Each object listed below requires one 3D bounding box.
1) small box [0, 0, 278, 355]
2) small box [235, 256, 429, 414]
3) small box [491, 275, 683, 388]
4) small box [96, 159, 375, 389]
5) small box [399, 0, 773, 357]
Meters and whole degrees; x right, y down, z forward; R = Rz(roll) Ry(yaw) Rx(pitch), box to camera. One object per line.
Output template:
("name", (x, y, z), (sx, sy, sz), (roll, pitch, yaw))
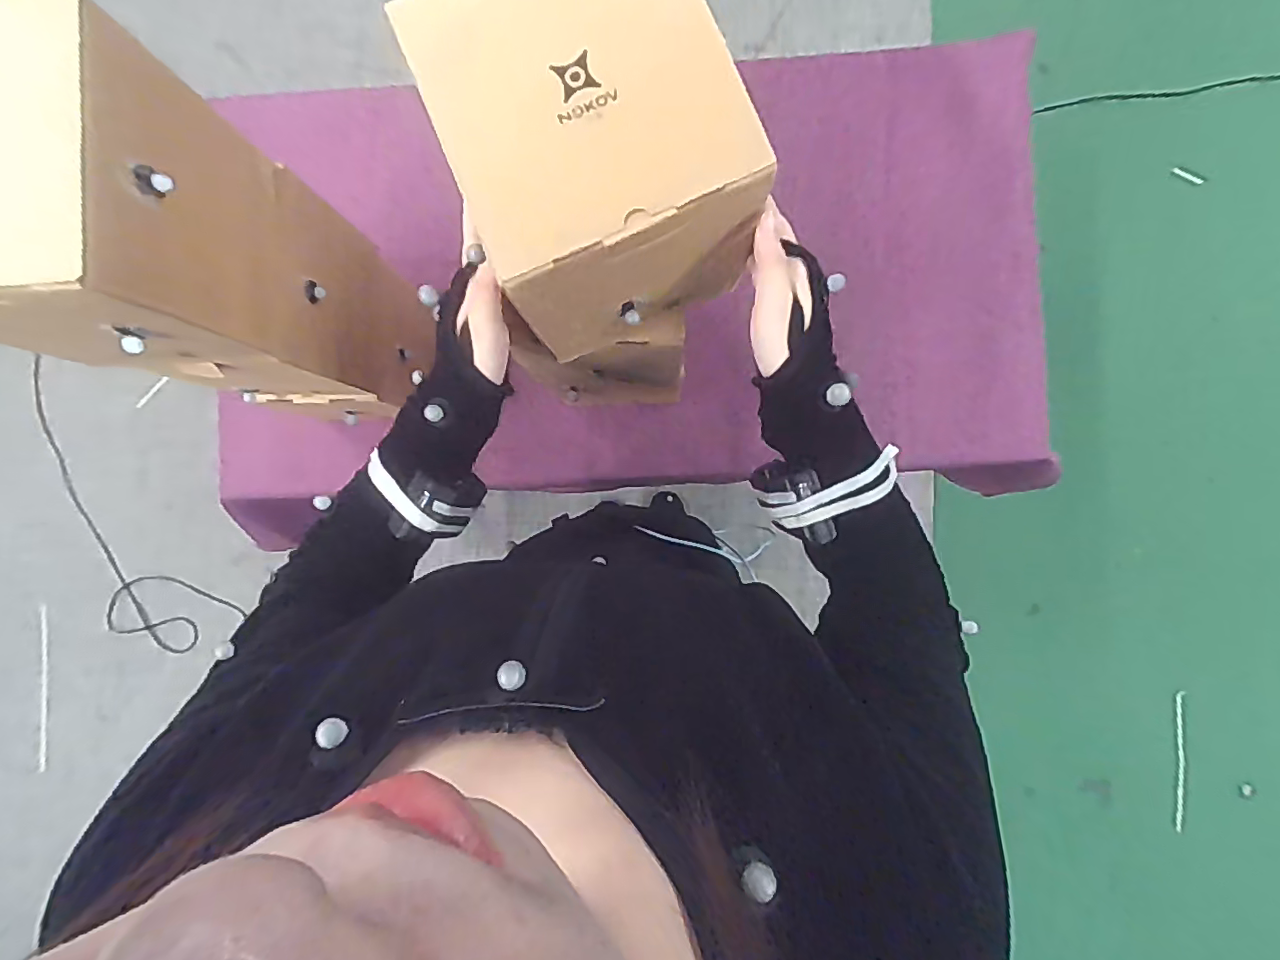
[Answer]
("small box", (-0.392, -0.191, 0.386), (0.168, 0.176, 0.179), (-1, 89, 0))
("small box", (-0.392, -0.182, 0.713), (0.168, 0.176, 0.179), (1, 90, 0))
("small box", (-0.041, -0.199, 0.543), (0.168, 0.176, 0.179), (3, 89, 1))
("small box", (-0.391, -0.192, 0.548), (0.168, 0.176, 0.179), (2, 88, 1))
("small box", (-0.031, -0.211, 0.381), (0.168, 0.176, 0.179), (-21, 89, 0))
